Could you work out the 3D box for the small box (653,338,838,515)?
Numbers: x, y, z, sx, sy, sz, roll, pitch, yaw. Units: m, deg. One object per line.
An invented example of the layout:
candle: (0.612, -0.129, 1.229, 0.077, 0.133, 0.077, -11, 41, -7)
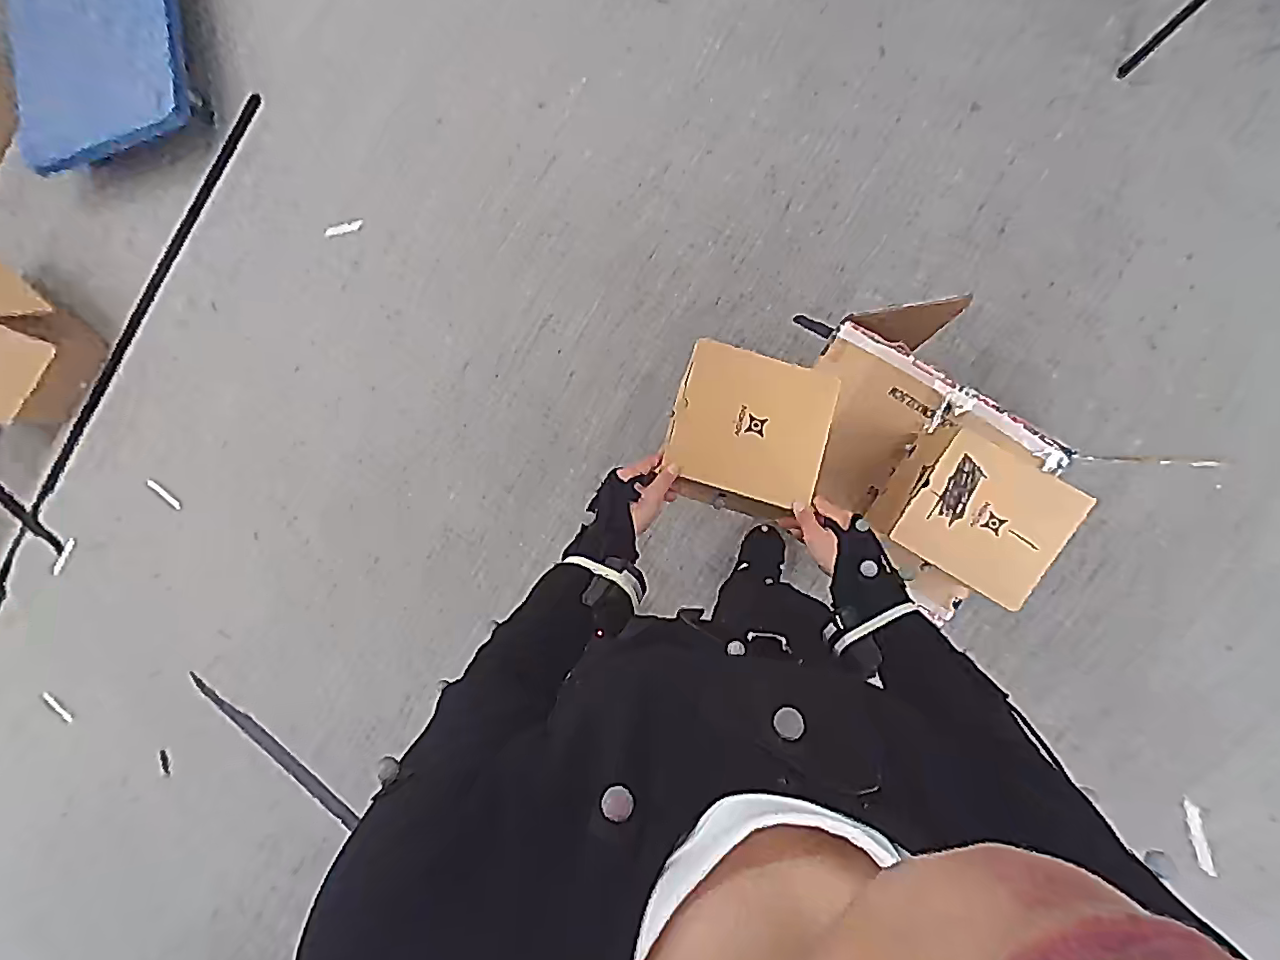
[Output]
small box: (0.122, -0.055, 0.694, 0.179, 0.176, 0.168, 16, 83, 2)
